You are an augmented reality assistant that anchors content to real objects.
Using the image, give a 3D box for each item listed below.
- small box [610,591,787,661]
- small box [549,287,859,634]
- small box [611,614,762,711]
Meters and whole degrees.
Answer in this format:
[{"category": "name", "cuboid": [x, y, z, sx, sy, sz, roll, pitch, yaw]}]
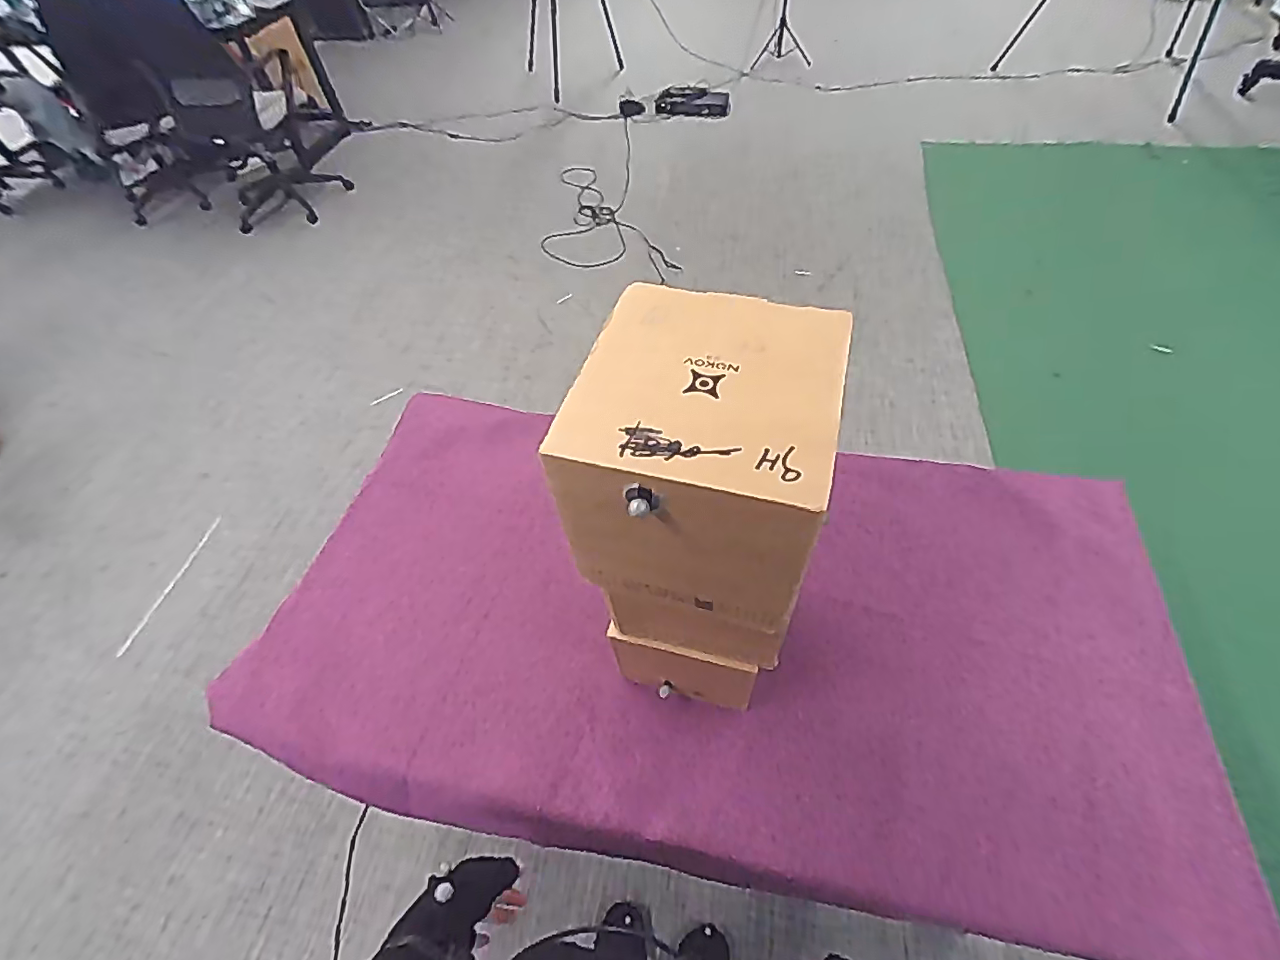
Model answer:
[{"category": "small box", "cuboid": [0.069, 0.066, 0.548, 0.179, 0.176, 0.168, 10, 55, 12]}, {"category": "small box", "cuboid": [0.052, -0.014, 0.404, 0.168, 0.176, 0.179, 12, 54, 14]}, {"category": "small box", "cuboid": [0.074, 0.163, 0.678, 0.168, 0.176, 0.179, 11, 56, 14]}]
